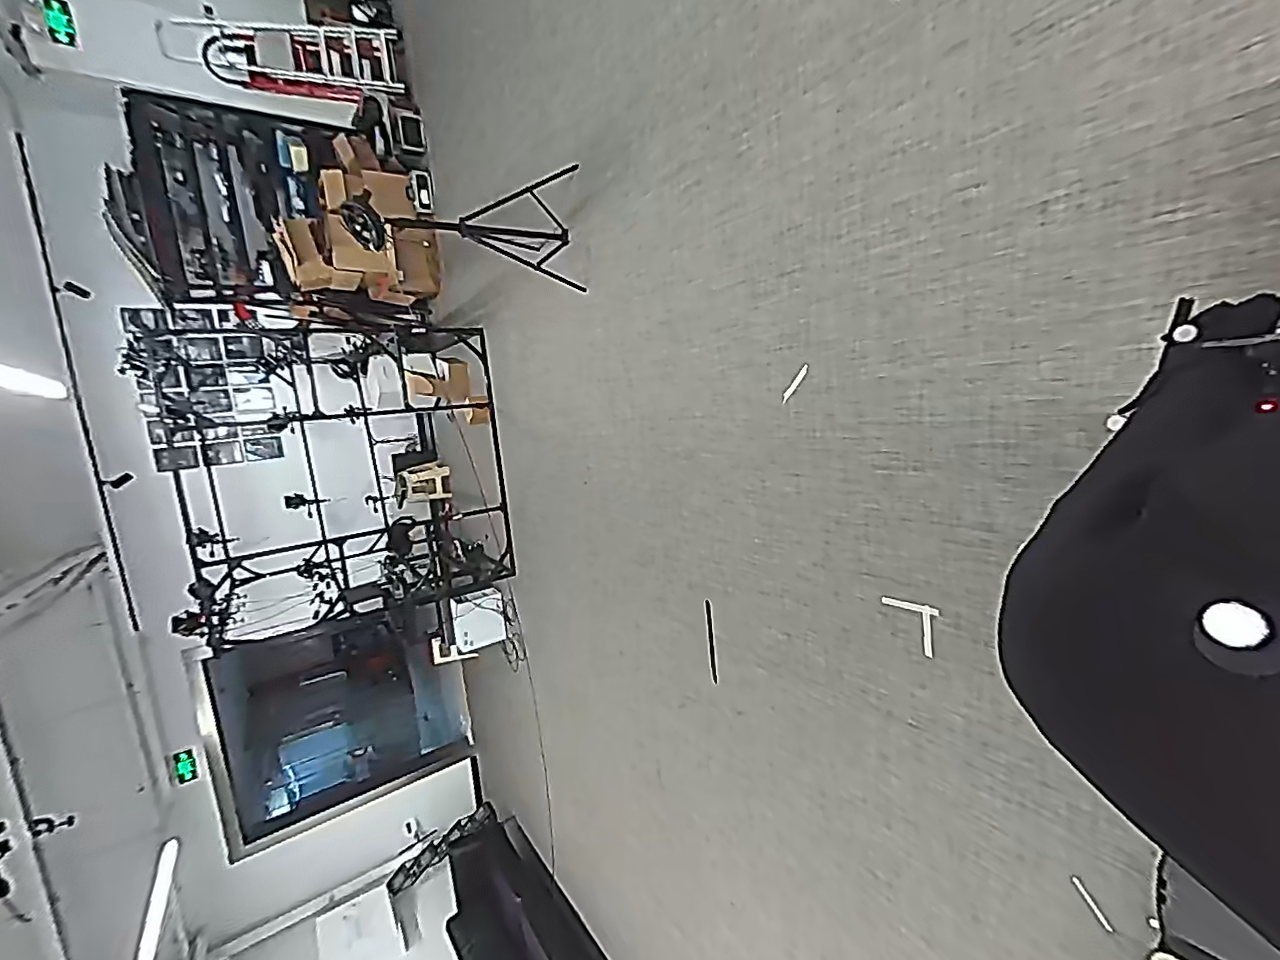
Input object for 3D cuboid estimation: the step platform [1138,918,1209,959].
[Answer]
[{"bbox_3d":[1.307,1.161,0.939,0.684,0.204,0.286,7,105,58],"label":"step platform"}]
